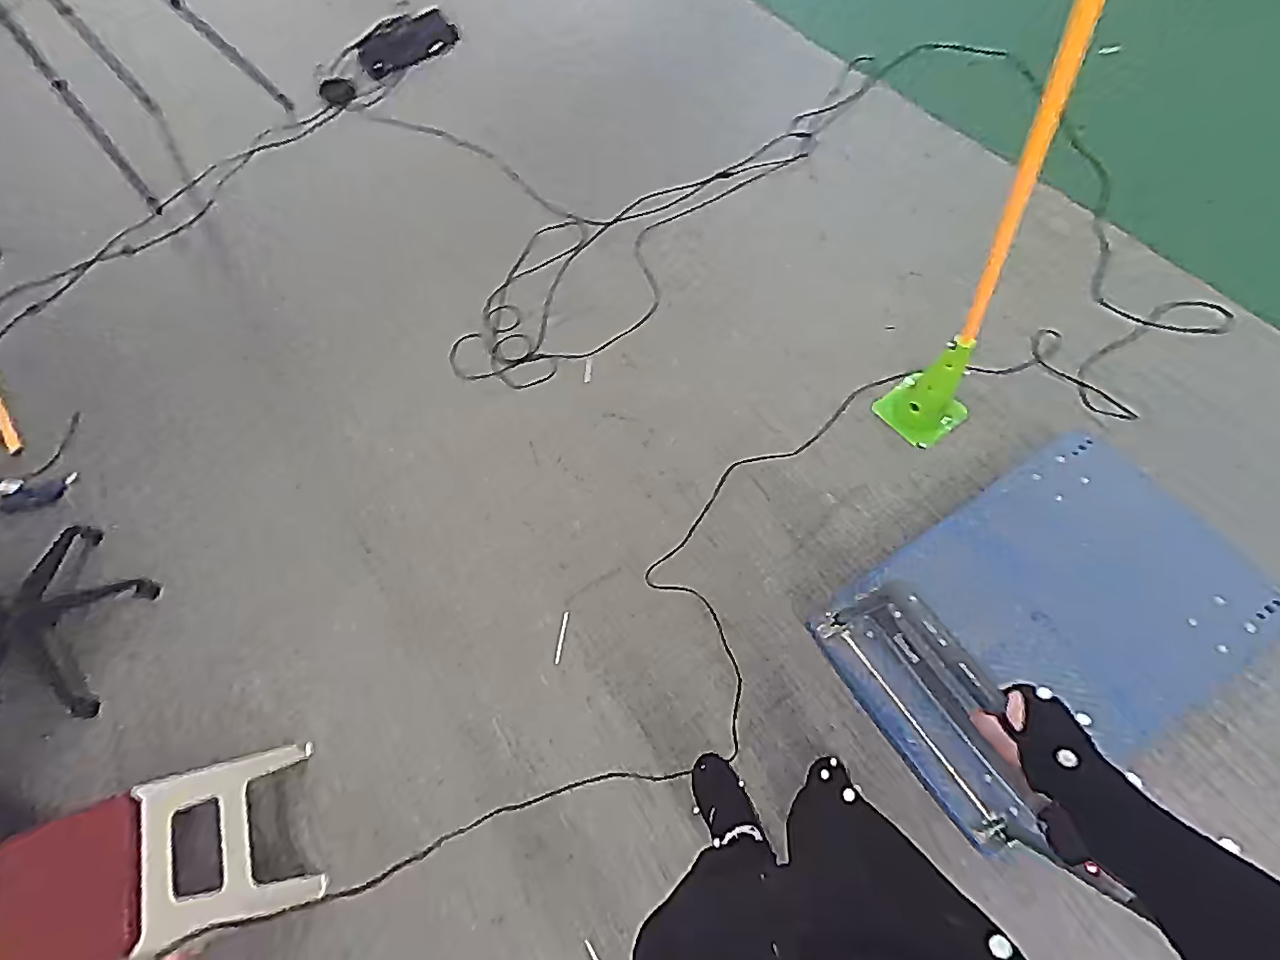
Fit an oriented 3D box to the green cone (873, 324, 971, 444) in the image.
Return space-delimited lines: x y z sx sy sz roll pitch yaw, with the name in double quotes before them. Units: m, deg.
"green cone" 0.808 -0.288 1.457 0.200 0.368 0.202 -38 66 -8
